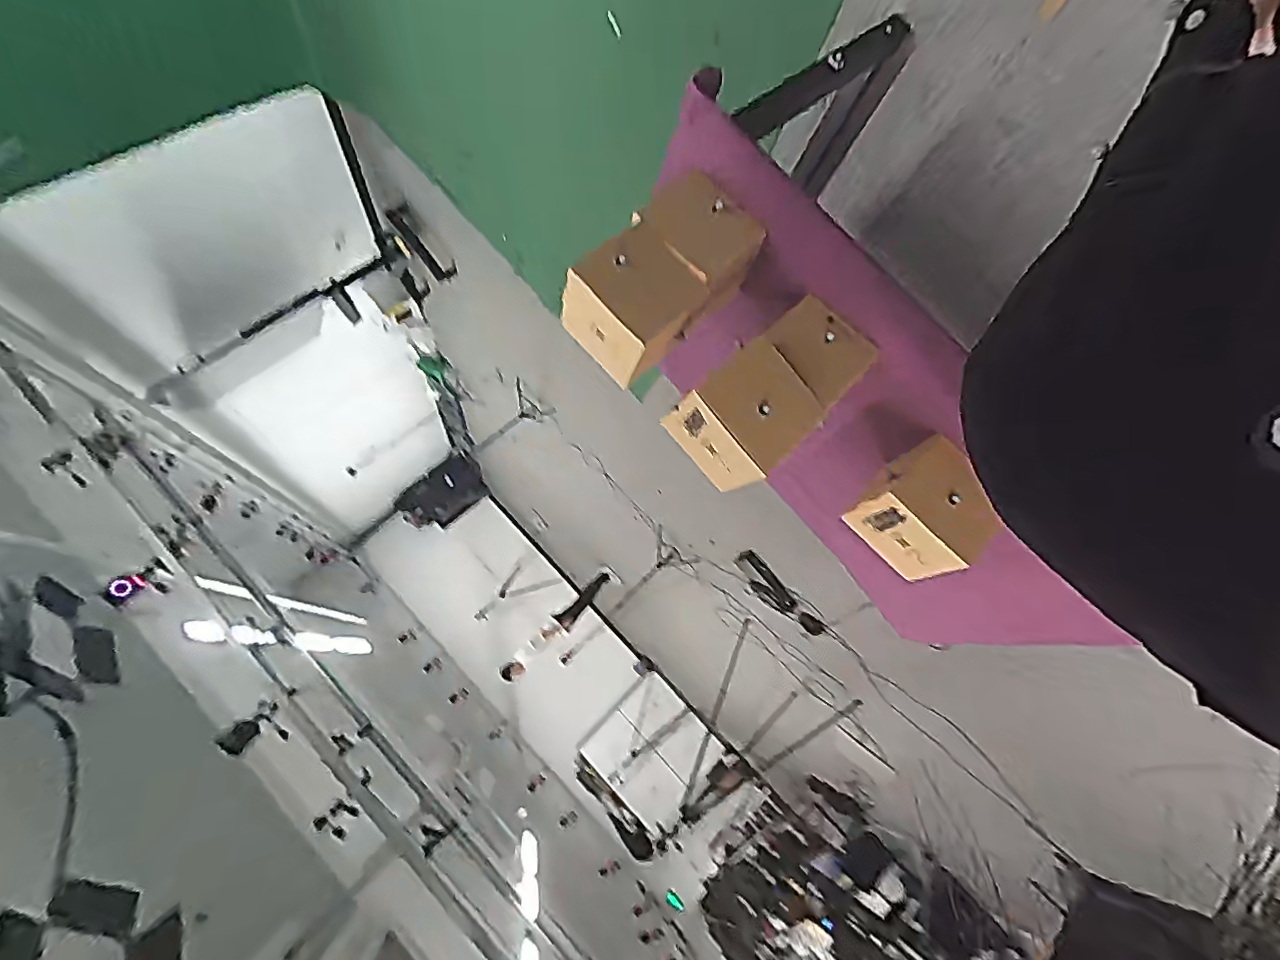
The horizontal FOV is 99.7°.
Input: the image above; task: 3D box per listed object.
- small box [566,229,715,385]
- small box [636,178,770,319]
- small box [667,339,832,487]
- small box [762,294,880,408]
[{"bbox_3d":[-0.003,-0.307,0.950,0.179,0.176,0.168,46,160,2],"label":"small box"},{"bbox_3d":[0.104,-0.421,1.000,0.179,0.176,0.168,45,160,8],"label":"small box"},{"bbox_3d":[0.184,-0.116,0.923,0.179,0.176,0.168,48,161,-4],"label":"small box"},{"bbox_3d":[0.305,-0.202,0.999,0.168,0.176,0.179,43,160,10],"label":"small box"}]
